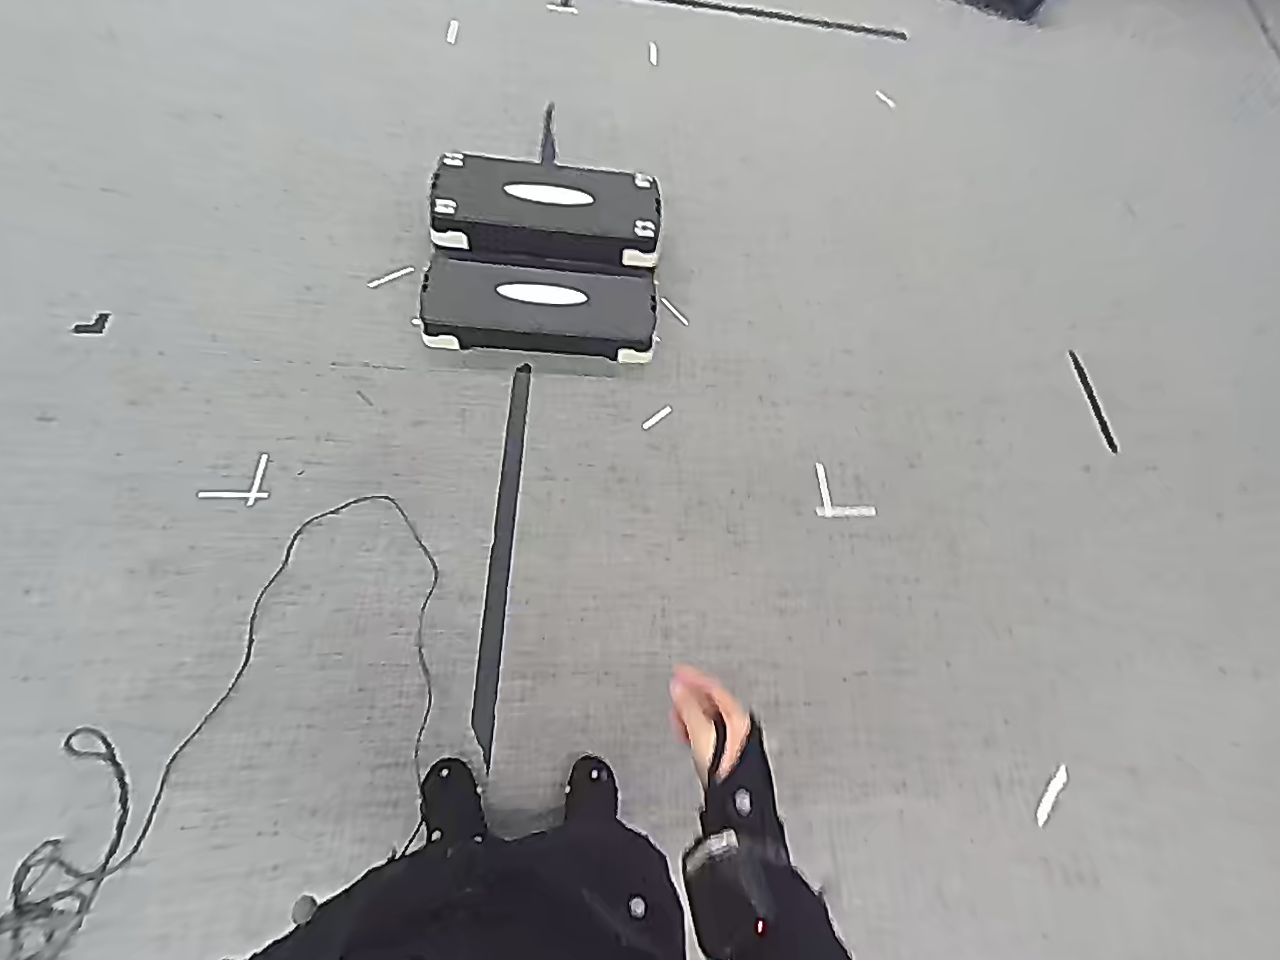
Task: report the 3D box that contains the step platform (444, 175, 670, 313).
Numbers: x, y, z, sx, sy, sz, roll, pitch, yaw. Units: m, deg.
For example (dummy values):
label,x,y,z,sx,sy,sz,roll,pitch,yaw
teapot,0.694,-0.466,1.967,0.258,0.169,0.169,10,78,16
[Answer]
label,x,y,z,sx,sy,sz,roll,pitch,yaw
step platform,-0.248,-0.735,1.691,0.684,0.204,0.286,8,64,-5
